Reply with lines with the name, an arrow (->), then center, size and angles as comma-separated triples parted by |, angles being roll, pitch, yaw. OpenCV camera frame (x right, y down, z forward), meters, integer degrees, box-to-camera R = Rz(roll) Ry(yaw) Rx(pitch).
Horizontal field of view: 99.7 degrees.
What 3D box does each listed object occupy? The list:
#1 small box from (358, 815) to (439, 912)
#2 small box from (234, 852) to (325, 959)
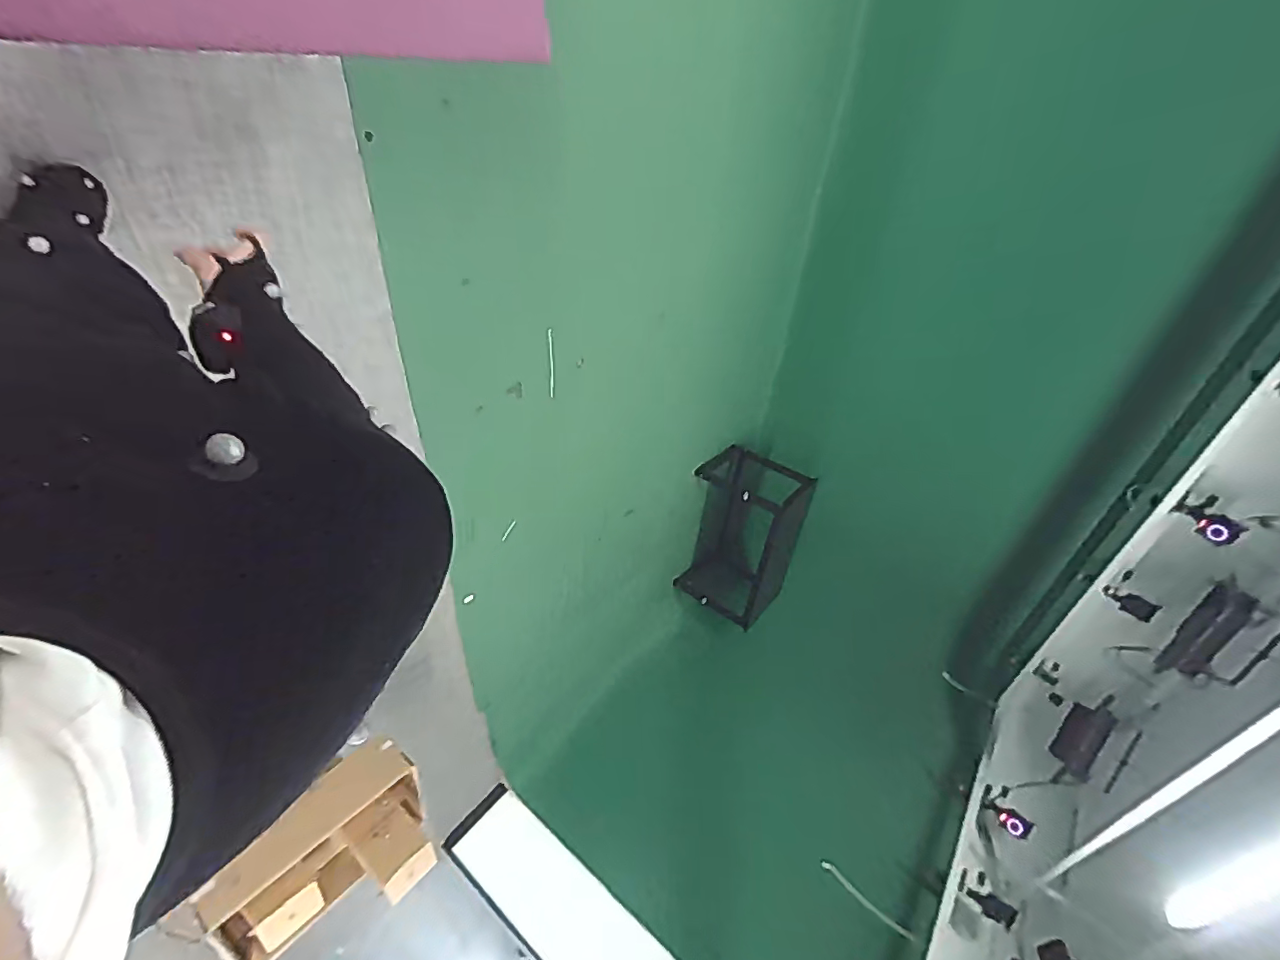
small box -> -0.787, 1.246, 1.766 | 0.168, 0.176, 0.179 | -34, 140, -43
small box -> -1.095, 1.290, 1.647 | 0.168, 0.176, 0.179 | -29, 136, -45
